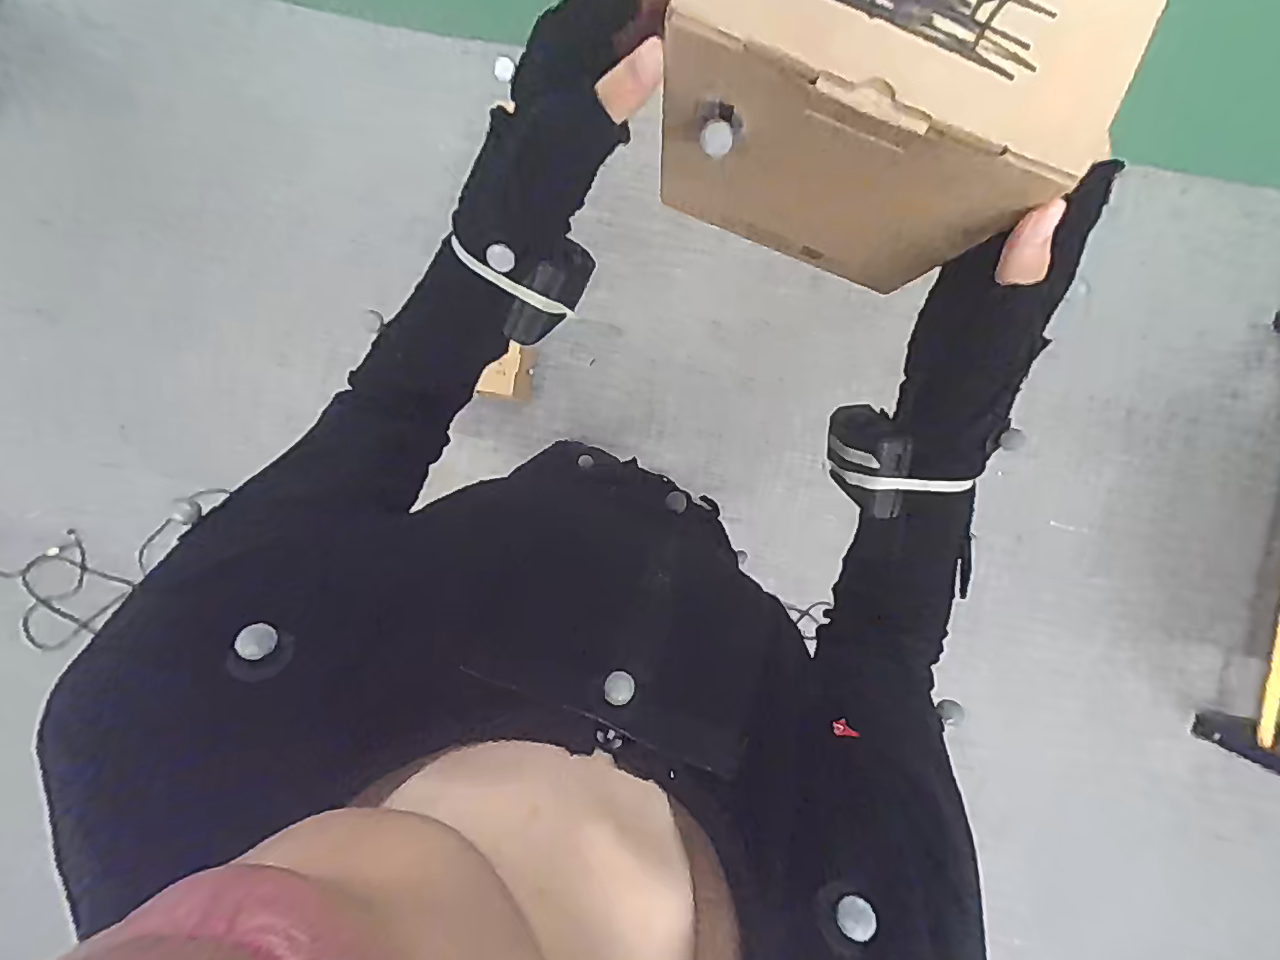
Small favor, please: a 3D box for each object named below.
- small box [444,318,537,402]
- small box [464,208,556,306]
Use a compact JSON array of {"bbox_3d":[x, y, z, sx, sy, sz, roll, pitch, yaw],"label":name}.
[{"bbox_3d":[-0.377,-0.300,1.391,0.179,0.176,0.168,10,92,0],"label":"small box"},{"bbox_3d":[-0.328,-0.564,1.391,0.179,0.176,0.168,12,91,0],"label":"small box"}]
